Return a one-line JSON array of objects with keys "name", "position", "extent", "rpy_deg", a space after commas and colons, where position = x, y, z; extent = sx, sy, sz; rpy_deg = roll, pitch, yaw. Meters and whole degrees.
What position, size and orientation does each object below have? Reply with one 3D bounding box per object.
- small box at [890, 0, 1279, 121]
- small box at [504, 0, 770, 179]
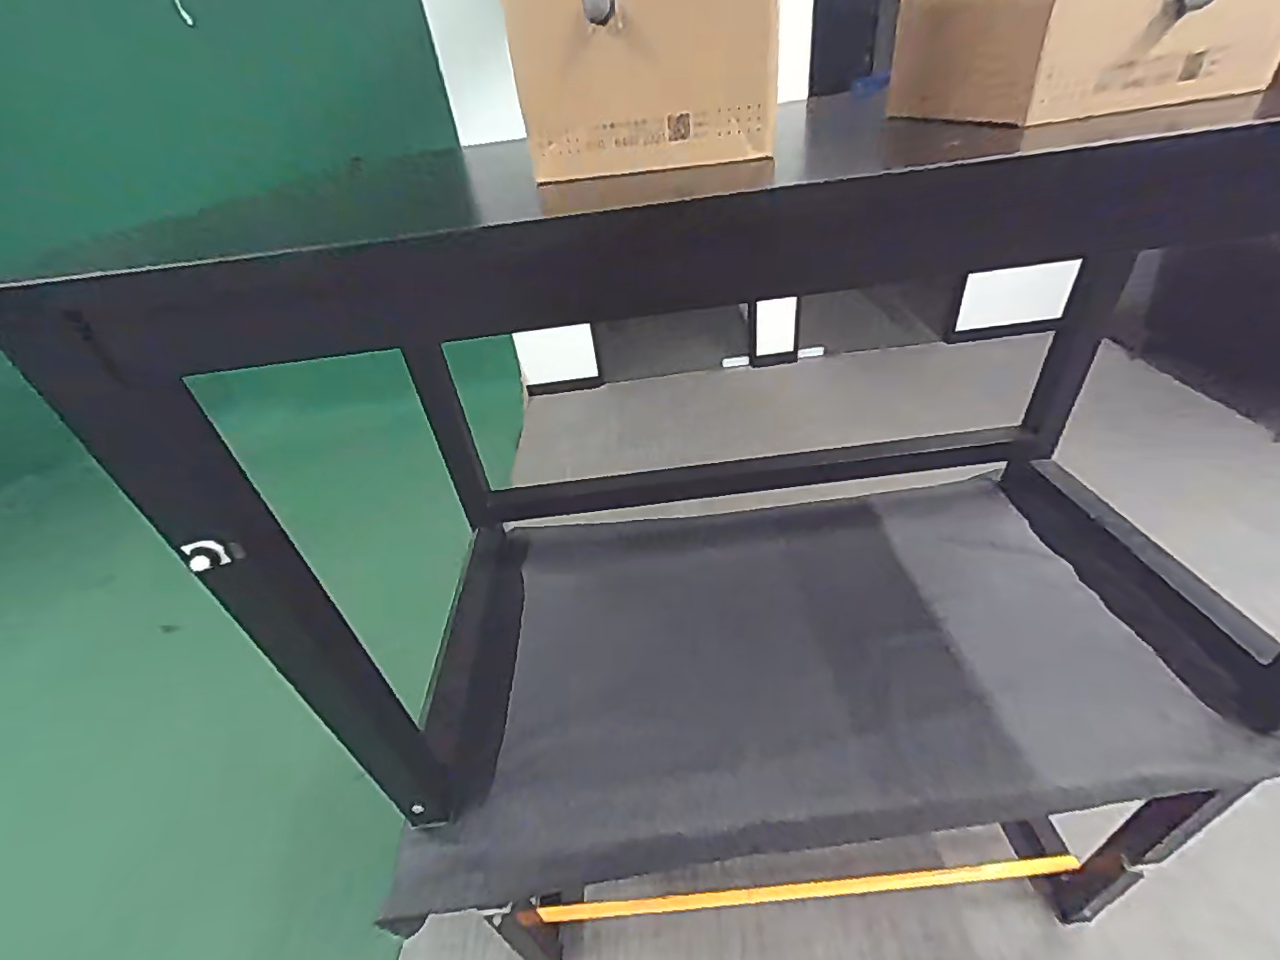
[{"name": "small box", "position": [0.298, -0.357, 0.374], "extent": [0.168, 0.176, 0.179], "rpy_deg": [-10, 36, -2]}, {"name": "small box", "position": [0.006, -0.330, 0.398], "extent": [0.168, 0.176, 0.179], "rpy_deg": [-2, 36, 8]}]
